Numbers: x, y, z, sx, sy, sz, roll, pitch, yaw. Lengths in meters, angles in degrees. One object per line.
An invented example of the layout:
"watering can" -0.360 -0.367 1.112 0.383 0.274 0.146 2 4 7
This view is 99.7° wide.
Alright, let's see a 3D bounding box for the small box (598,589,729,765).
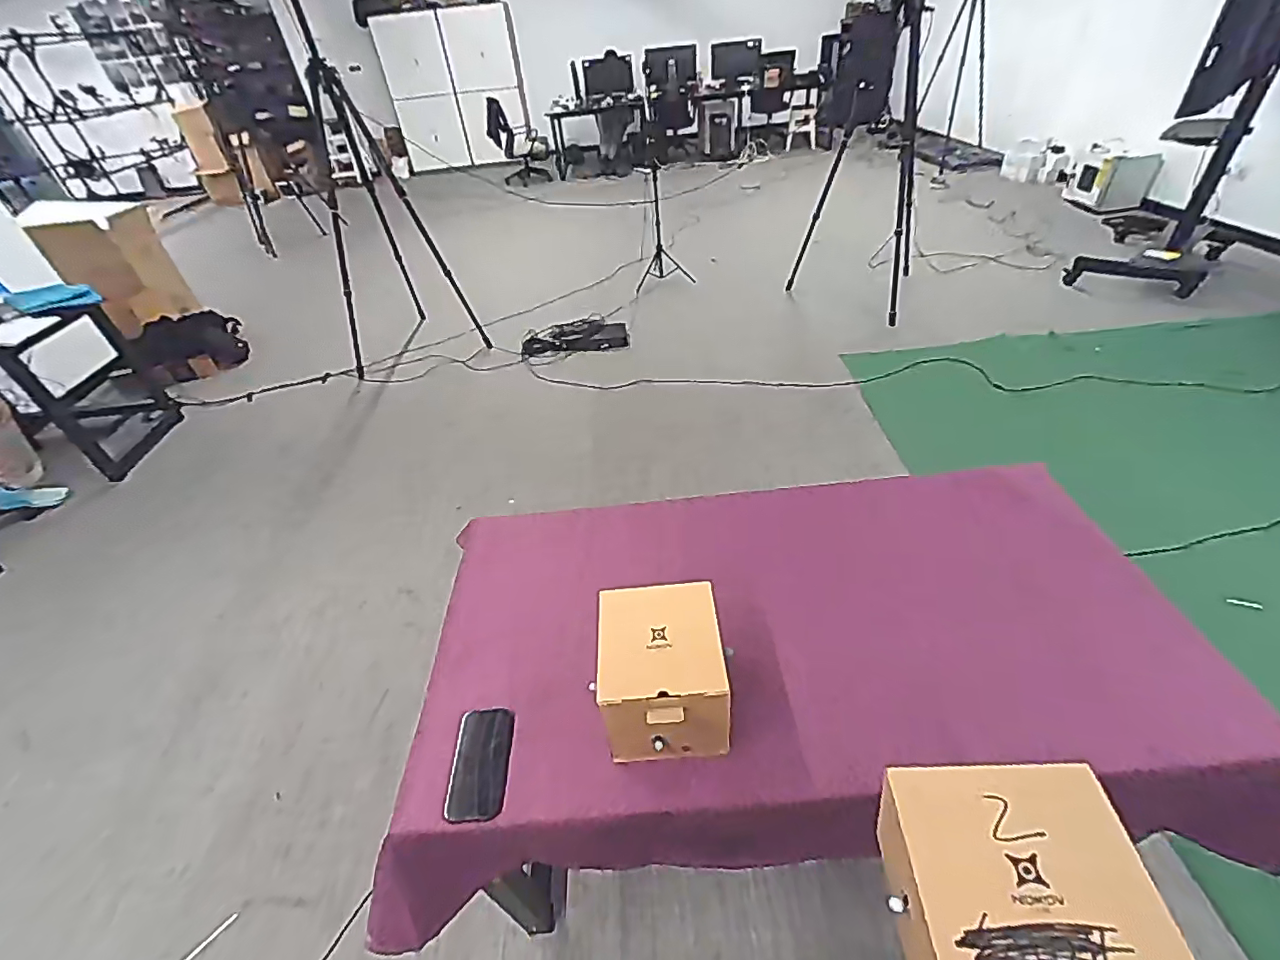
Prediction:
"small box" 0.032 0.283 0.781 0.168 0.176 0.179 -5 40 2
